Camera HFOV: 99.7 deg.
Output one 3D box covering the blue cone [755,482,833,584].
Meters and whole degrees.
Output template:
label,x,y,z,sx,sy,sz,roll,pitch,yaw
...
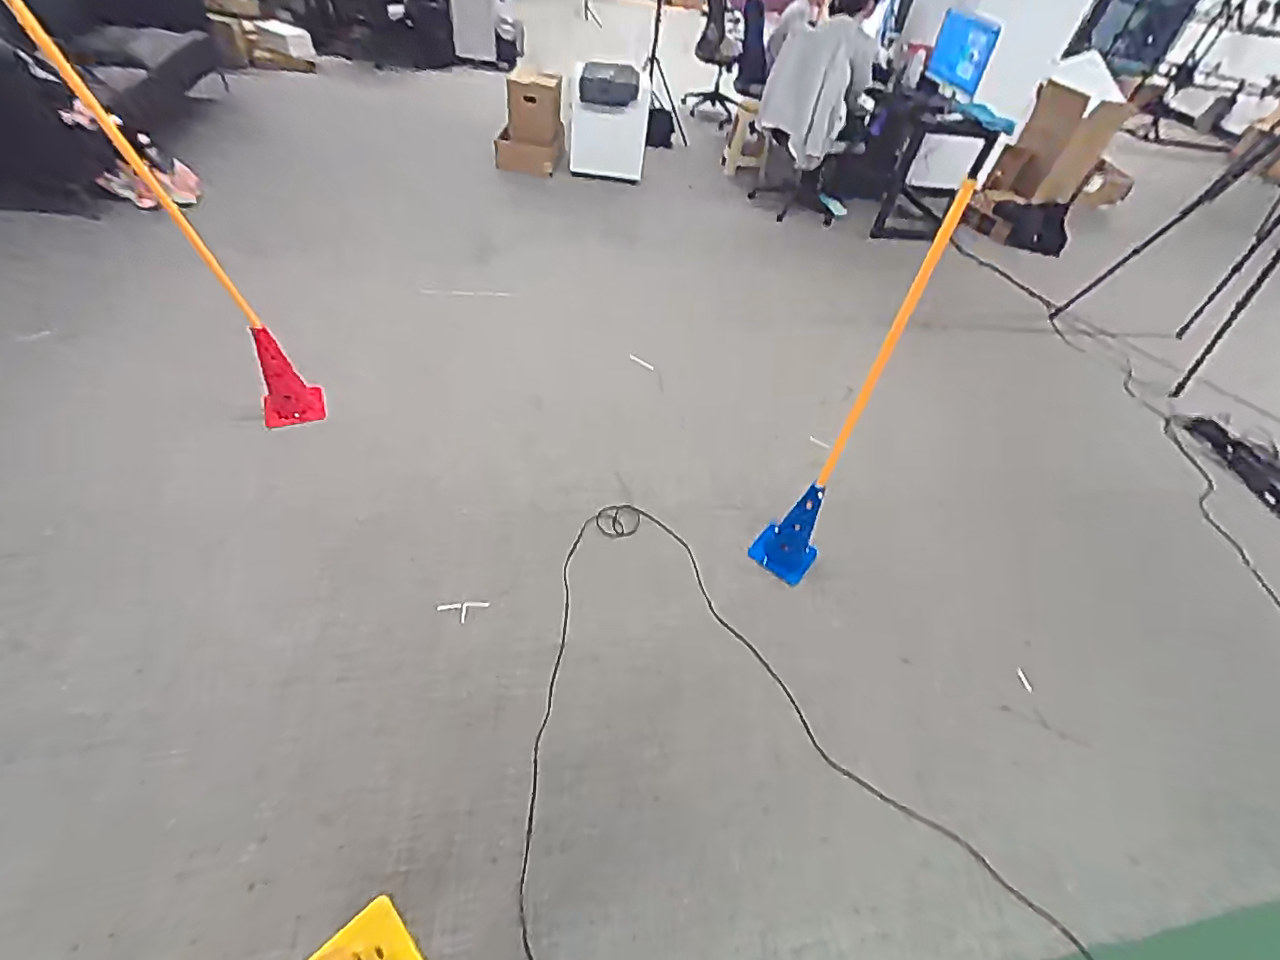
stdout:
label,x,y,z,sx,sy,sz,roll,pitch,yaw
blue cone,0.528,0.143,1.758,0.192,0.380,0.193,33,49,20
